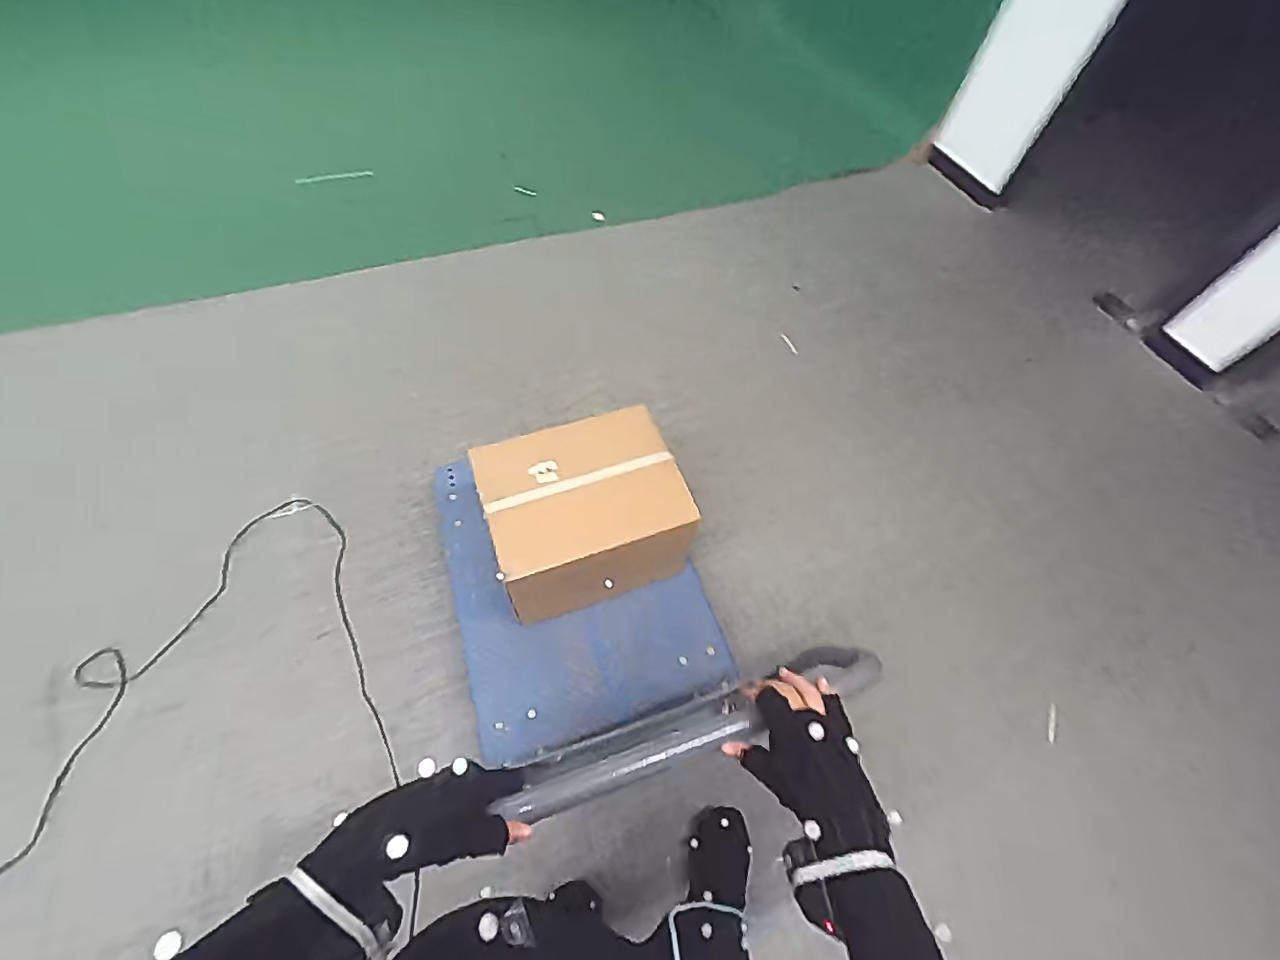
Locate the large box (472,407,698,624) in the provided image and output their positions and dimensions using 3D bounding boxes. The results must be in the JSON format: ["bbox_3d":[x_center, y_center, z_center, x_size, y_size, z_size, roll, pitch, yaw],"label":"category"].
[{"bbox_3d":[-0.125,0.087,1.245,0.408,0.320,0.320,-17,61,-13],"label":"large box"}]
